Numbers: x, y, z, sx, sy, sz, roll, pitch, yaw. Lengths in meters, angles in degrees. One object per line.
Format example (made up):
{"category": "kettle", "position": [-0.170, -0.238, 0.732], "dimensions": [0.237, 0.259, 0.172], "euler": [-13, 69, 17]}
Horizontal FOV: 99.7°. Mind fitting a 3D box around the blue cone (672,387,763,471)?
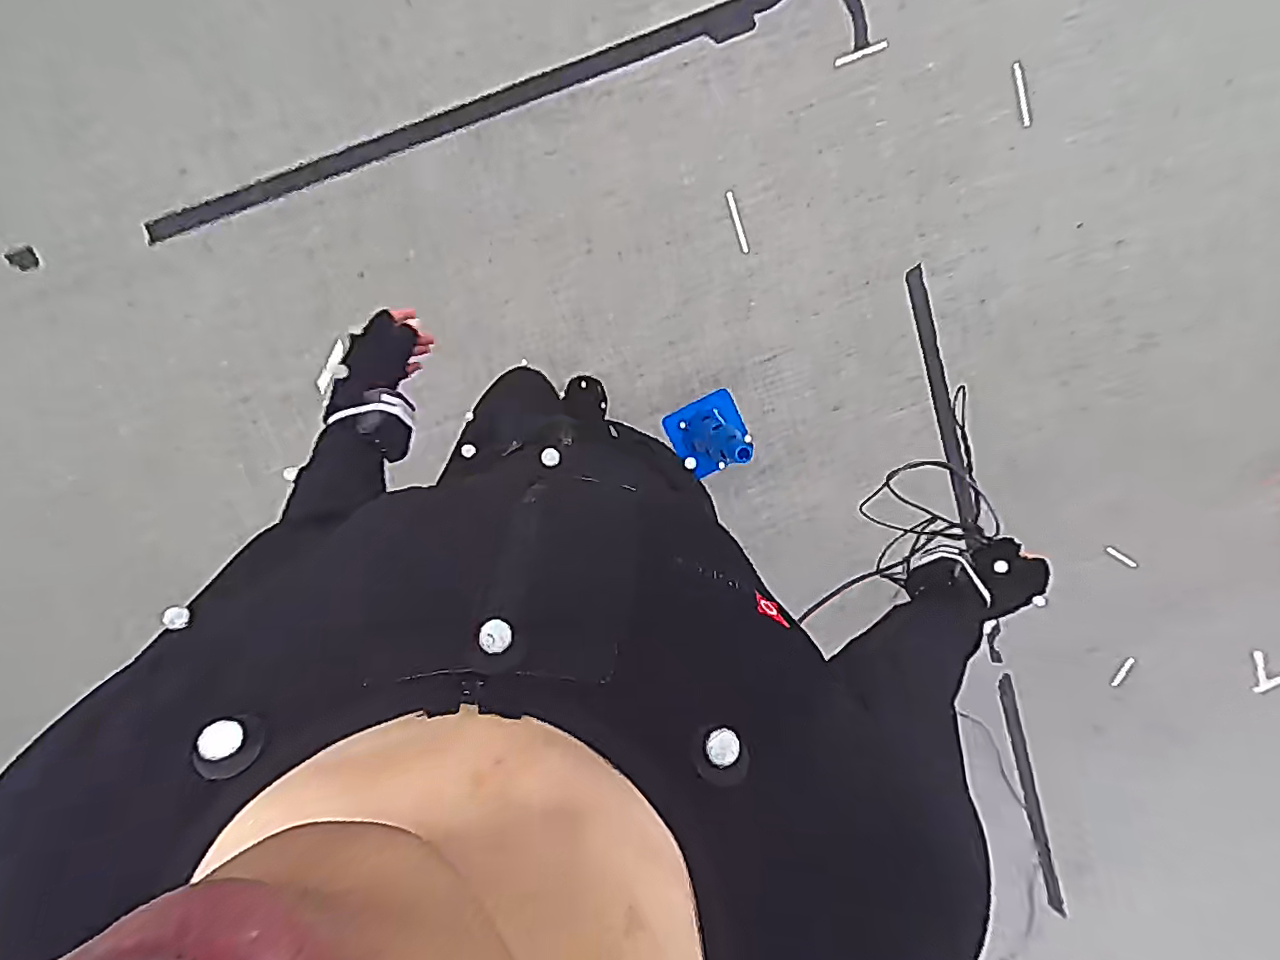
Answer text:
{"category": "blue cone", "position": [0.211, -0.103, 1.295], "dimensions": [0.192, 0.380, 0.193], "euler": [-26, 102, 0]}
